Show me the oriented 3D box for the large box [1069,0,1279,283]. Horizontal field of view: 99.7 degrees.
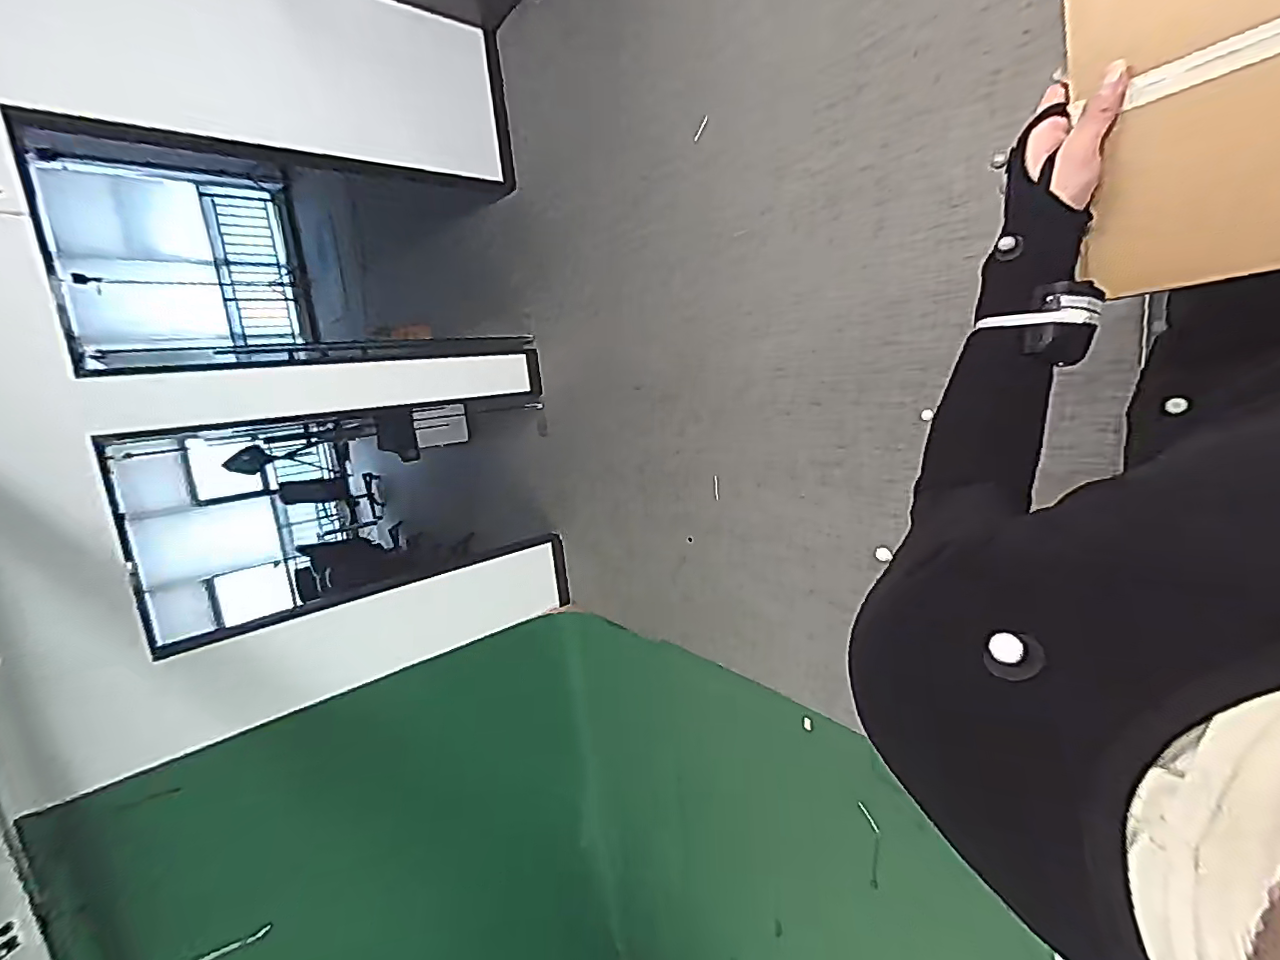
[{"bbox_3d":[0.607,-0.370,0.405,0.408,0.320,0.320,0,110,48],"label":"large box"}]
